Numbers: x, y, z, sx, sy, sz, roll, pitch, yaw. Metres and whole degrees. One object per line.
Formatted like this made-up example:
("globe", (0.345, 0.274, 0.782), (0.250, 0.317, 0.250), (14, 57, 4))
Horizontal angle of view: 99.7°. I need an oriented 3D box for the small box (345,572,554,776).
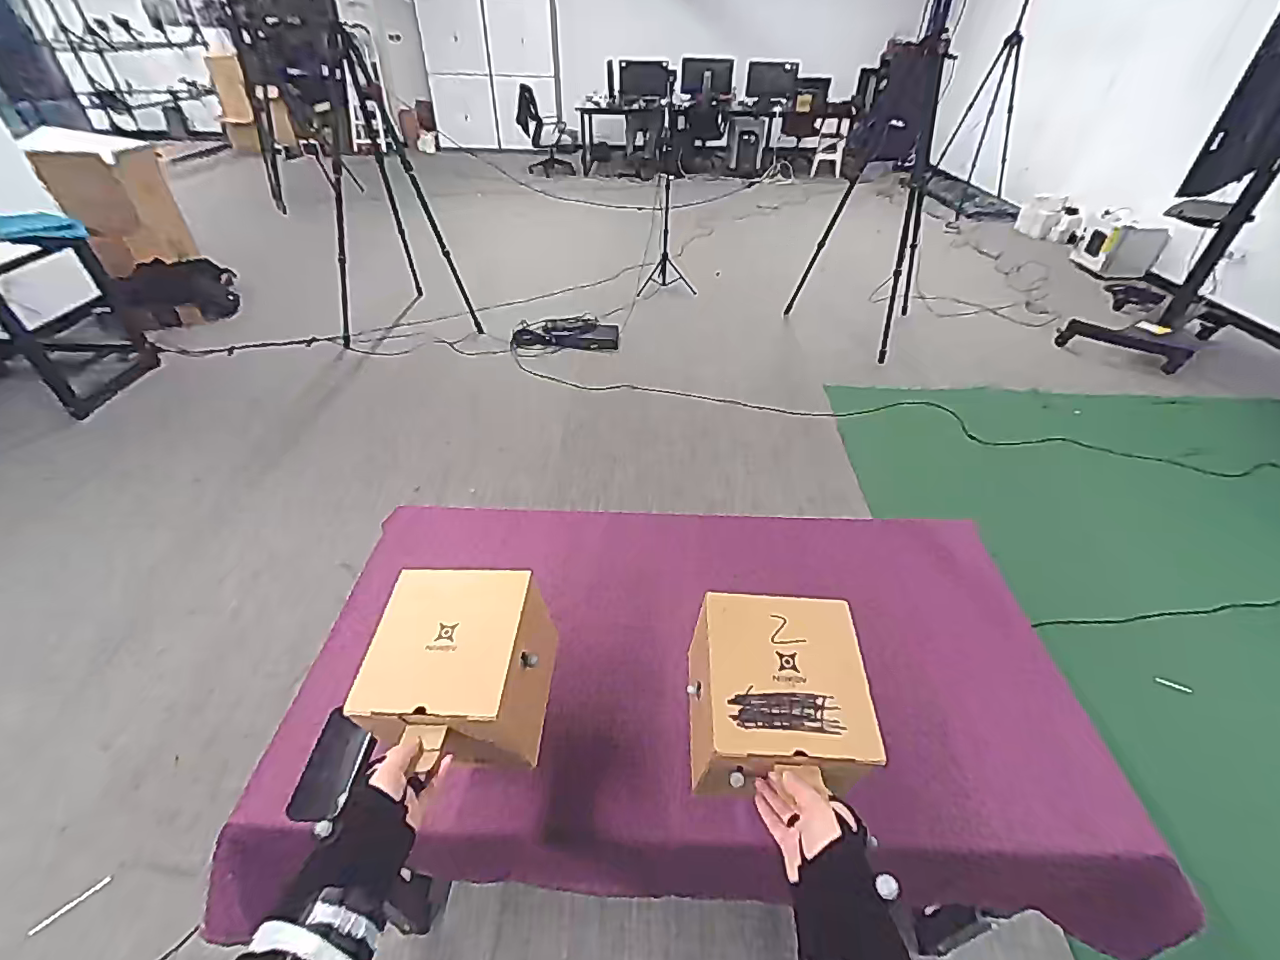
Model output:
("small box", (-0.207, 0.232, 0.650), (0.168, 0.176, 0.179), (1, 48, 6))
